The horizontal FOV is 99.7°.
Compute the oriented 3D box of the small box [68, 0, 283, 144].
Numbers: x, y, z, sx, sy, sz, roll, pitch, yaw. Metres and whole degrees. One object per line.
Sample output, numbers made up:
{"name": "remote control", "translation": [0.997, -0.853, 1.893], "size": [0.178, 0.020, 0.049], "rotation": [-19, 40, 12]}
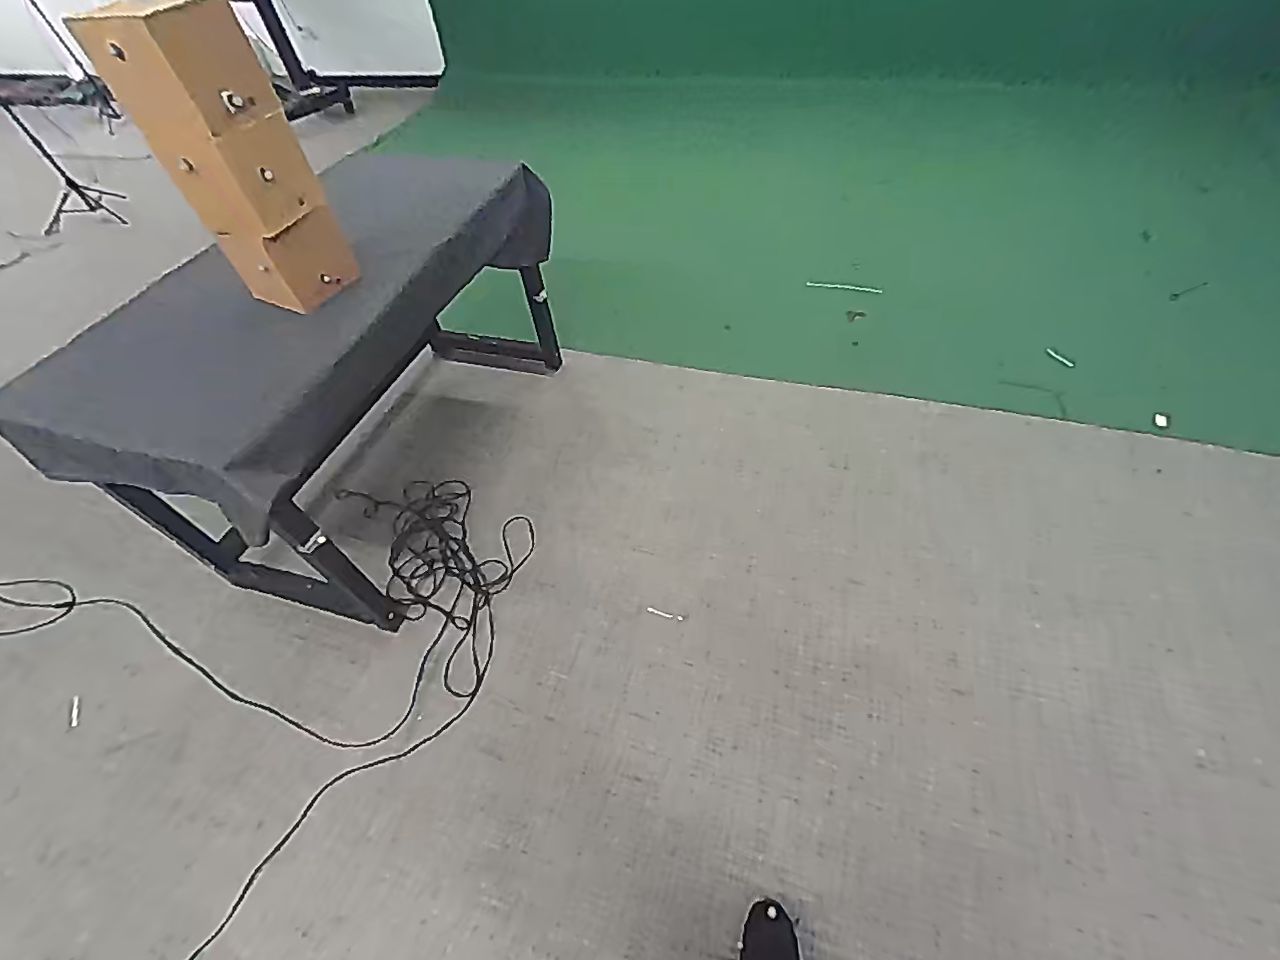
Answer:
{"name": "small box", "translation": [-0.767, -0.691, 0.915], "size": [0.179, 0.176, 0.168], "rotation": [12, 54, 14]}

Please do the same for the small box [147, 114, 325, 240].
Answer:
{"name": "small box", "translation": [-0.755, -0.582, 1.036], "size": [0.179, 0.176, 0.168], "rotation": [13, 54, 16]}
